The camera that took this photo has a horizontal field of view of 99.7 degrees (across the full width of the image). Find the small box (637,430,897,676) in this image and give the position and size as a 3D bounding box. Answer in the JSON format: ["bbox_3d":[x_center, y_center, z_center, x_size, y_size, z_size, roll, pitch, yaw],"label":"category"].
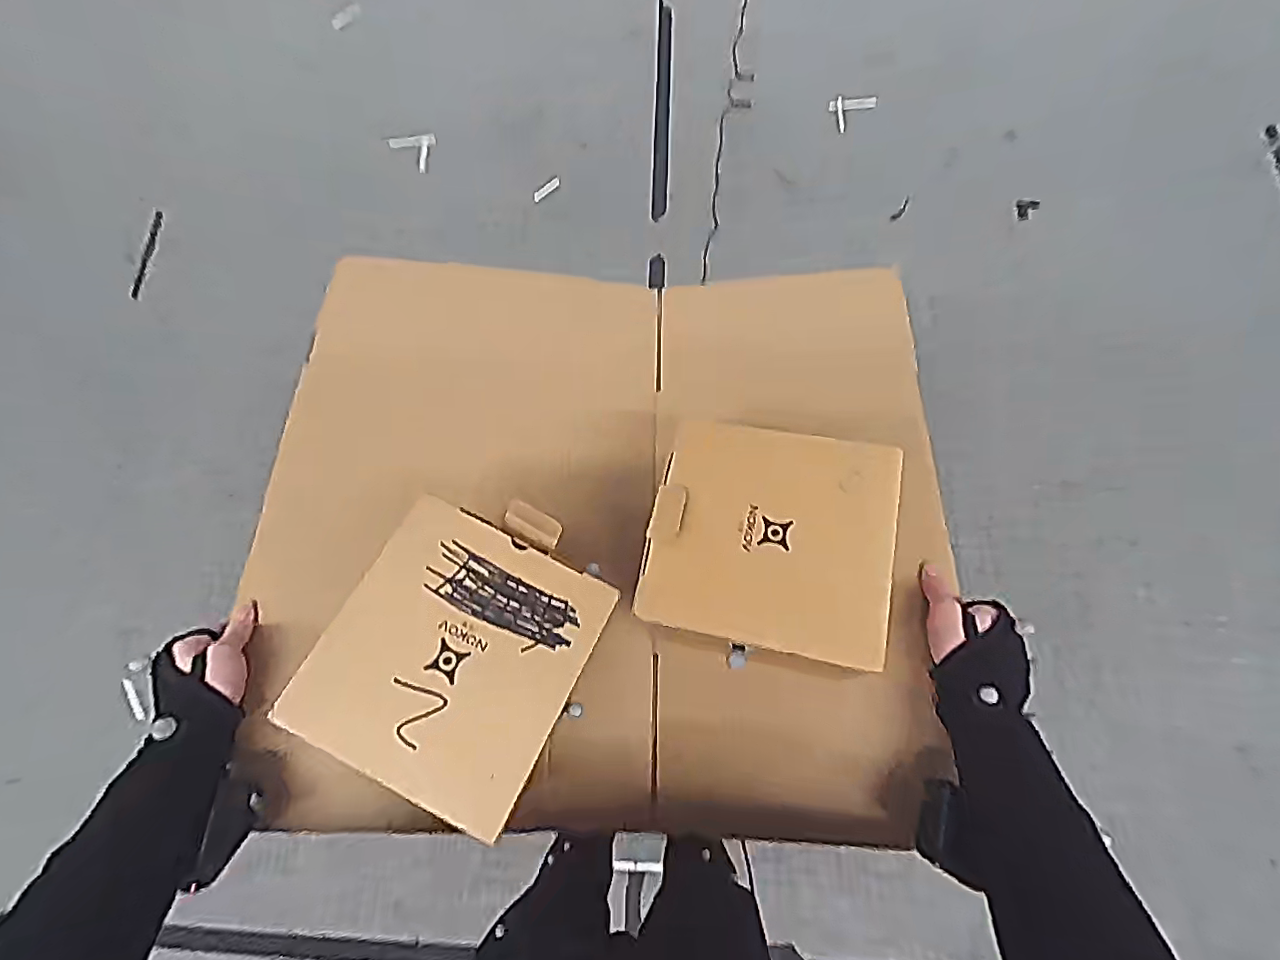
[{"bbox_3d":[0.113,0.073,0.490,0.179,0.176,0.168,9,71,15],"label":"small box"}]
